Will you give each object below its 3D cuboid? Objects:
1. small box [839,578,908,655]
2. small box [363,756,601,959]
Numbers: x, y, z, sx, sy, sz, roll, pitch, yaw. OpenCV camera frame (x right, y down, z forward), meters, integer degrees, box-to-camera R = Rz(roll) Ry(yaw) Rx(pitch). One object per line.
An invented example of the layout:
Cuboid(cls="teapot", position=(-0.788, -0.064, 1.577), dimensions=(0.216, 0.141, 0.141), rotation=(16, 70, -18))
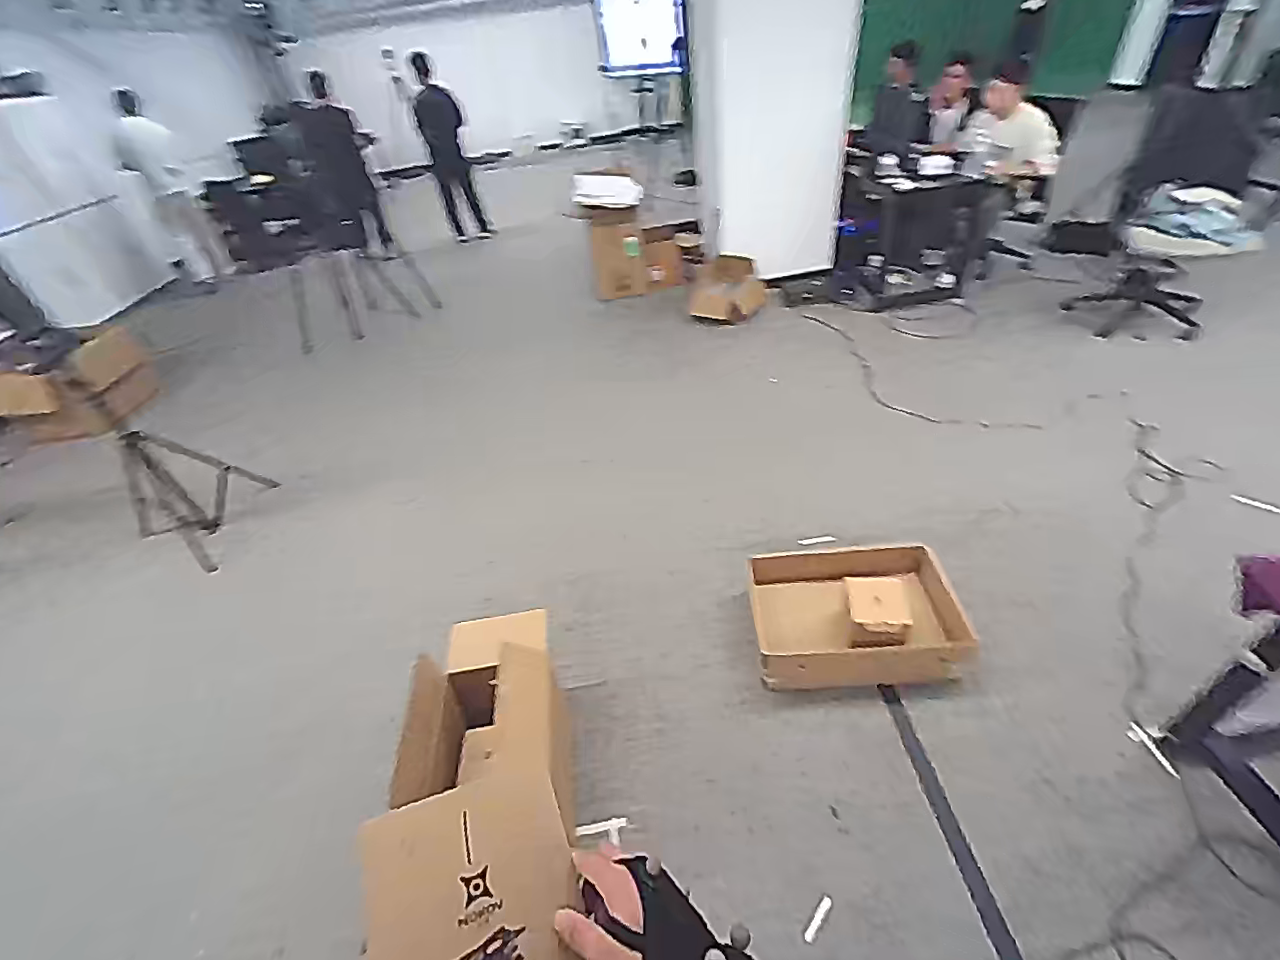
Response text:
Cuboid(cls="small box", position=(0.728, 0.431, 1.703), dimensions=(0.168, 0.176, 0.179), rotation=(0, 41, 11))
Cuboid(cls="small box", position=(-0.148, 0.387, 0.493), dimensions=(0.168, 0.176, 0.179), rotation=(-7, 52, -25))
